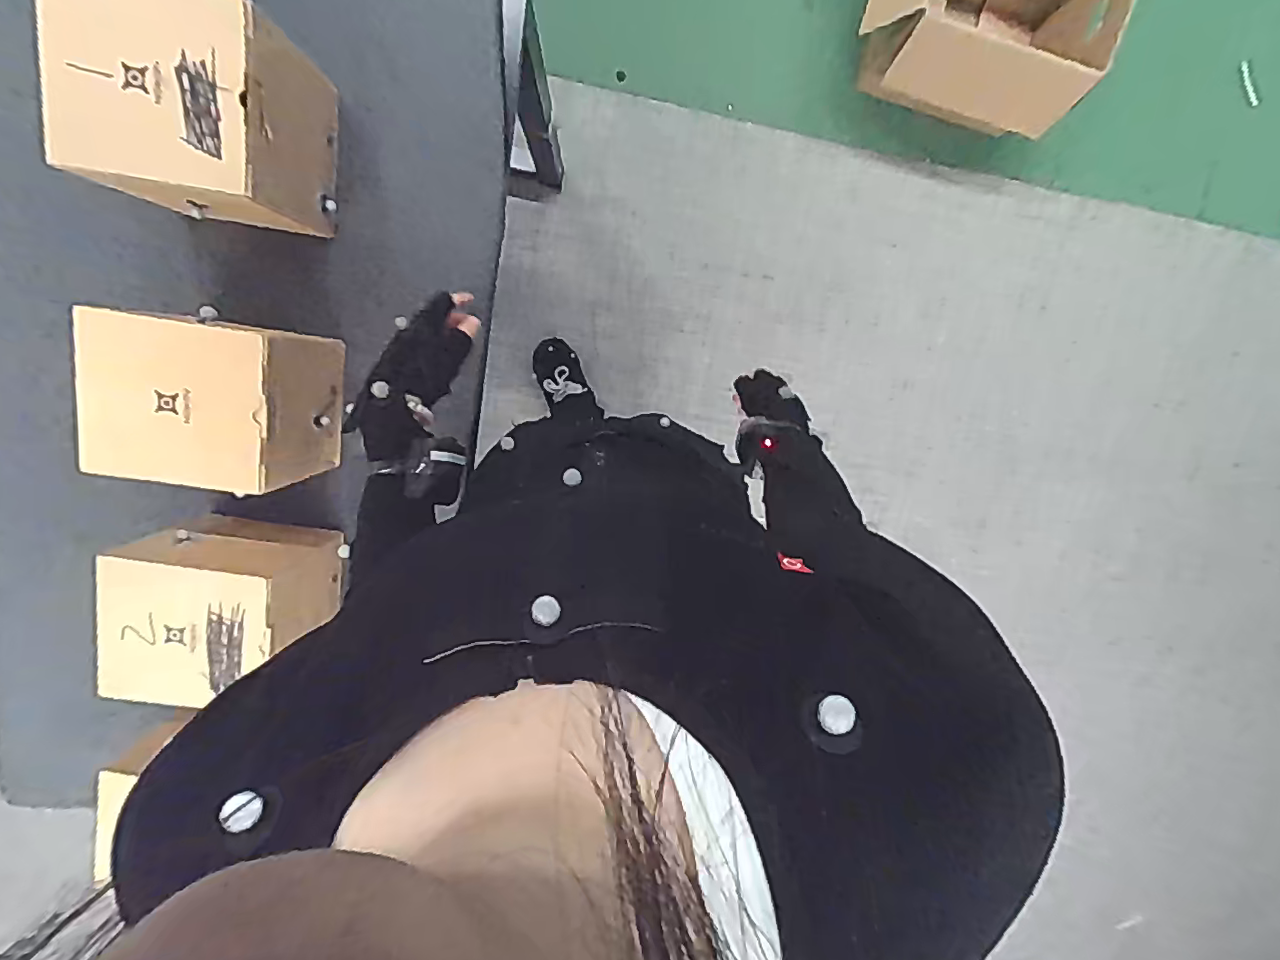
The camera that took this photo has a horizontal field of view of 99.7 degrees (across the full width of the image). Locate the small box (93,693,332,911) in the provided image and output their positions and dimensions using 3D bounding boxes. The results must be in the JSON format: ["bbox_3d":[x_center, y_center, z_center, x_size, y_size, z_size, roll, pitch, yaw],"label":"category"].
[{"bbox_3d":[-0.539,0.402,0.702,0.179,0.176,0.168,12,100,-5],"label":"small box"}]

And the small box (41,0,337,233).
[{"bbox_3d":[-0.439,-0.369,0.558,0.179,0.176,0.168,8,101,-5],"label":"small box"}]

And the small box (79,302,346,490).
[{"bbox_3d":[-0.467,-0.094,0.615,0.179,0.176,0.168,7,100,-6],"label":"small box"}]
